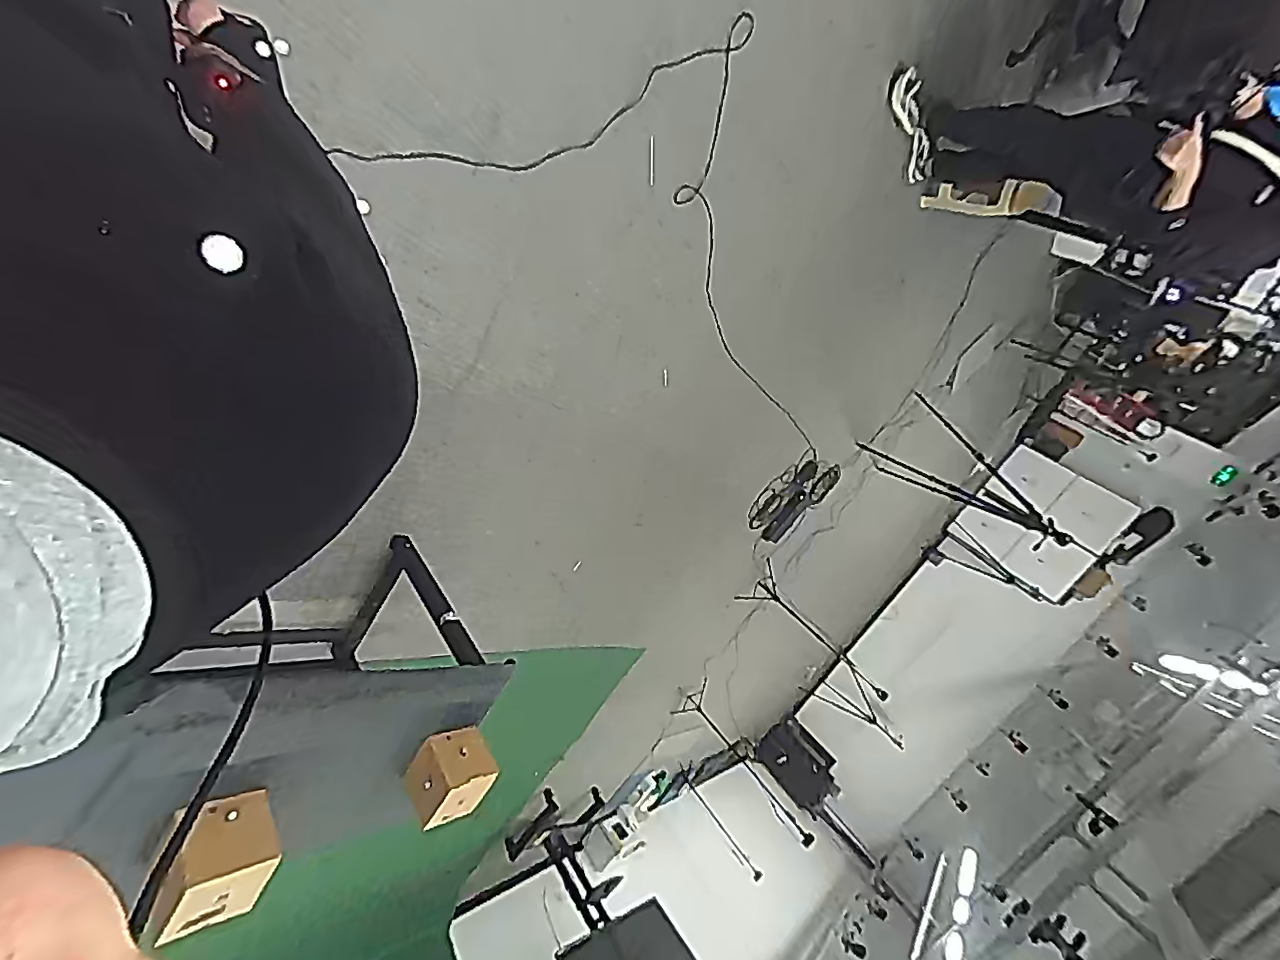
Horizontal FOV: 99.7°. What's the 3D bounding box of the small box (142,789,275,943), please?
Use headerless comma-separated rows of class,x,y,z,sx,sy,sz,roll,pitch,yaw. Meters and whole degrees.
small box,-0.913,0.799,1.139,0.168,0.176,0.179,18,109,-55

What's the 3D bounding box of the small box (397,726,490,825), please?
small box,-0.577,0.845,1.575,0.168,0.176,0.179,14,112,-53
